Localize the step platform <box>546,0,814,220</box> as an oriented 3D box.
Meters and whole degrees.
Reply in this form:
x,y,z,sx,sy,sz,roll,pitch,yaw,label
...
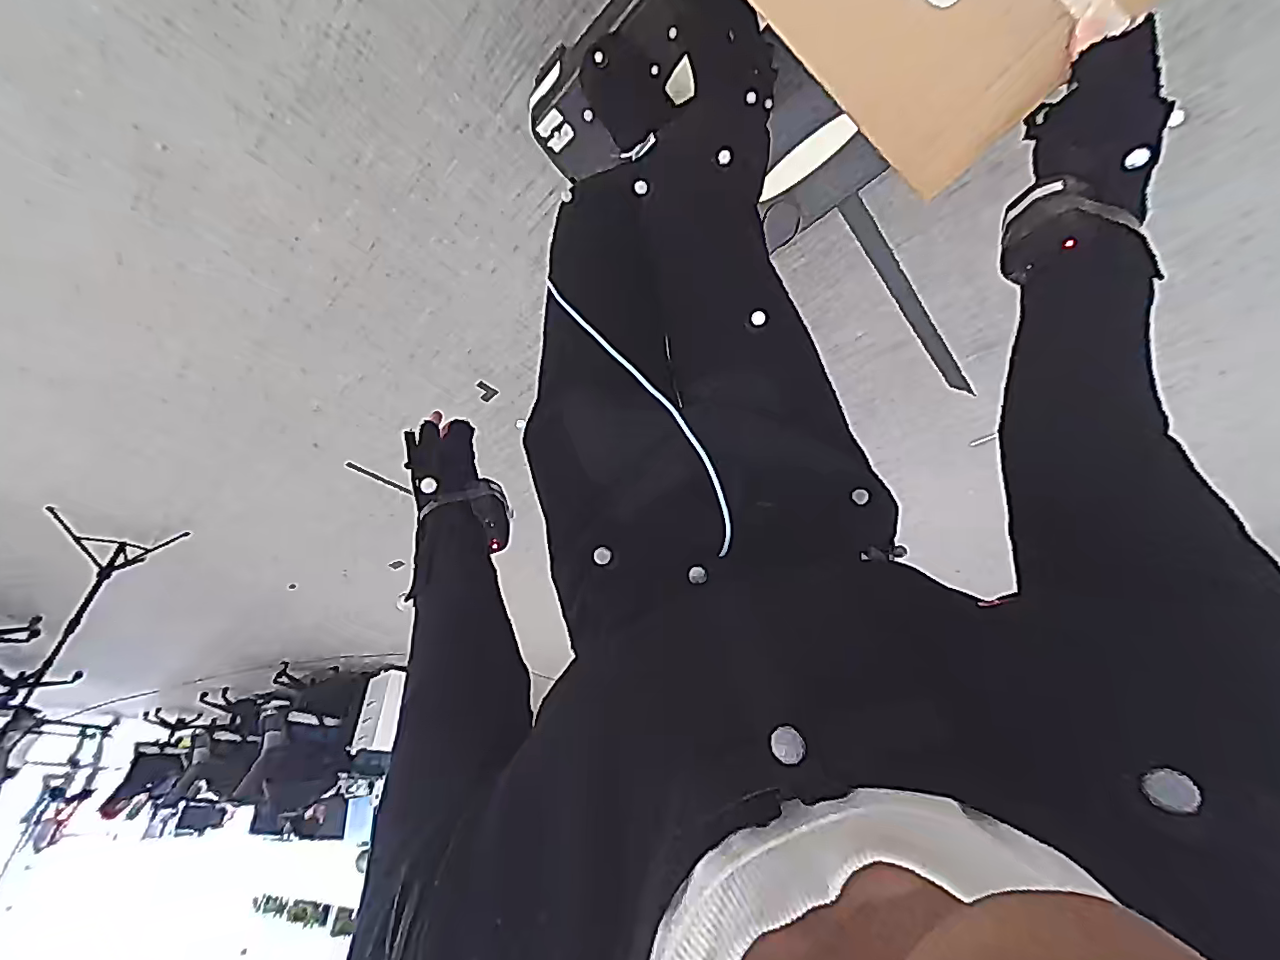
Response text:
x,y,z,sx,sy,sz,roll,pitch,yaw,label
0.152,-0.759,0.865,0.684,0.204,0.286,-30,135,35,step platform

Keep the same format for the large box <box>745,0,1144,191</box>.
x,y,z,sx,sy,sz,roll,pitch,yaw,label
0.280,-0.566,0.504,0.408,0.320,0.320,43,135,-7,large box
